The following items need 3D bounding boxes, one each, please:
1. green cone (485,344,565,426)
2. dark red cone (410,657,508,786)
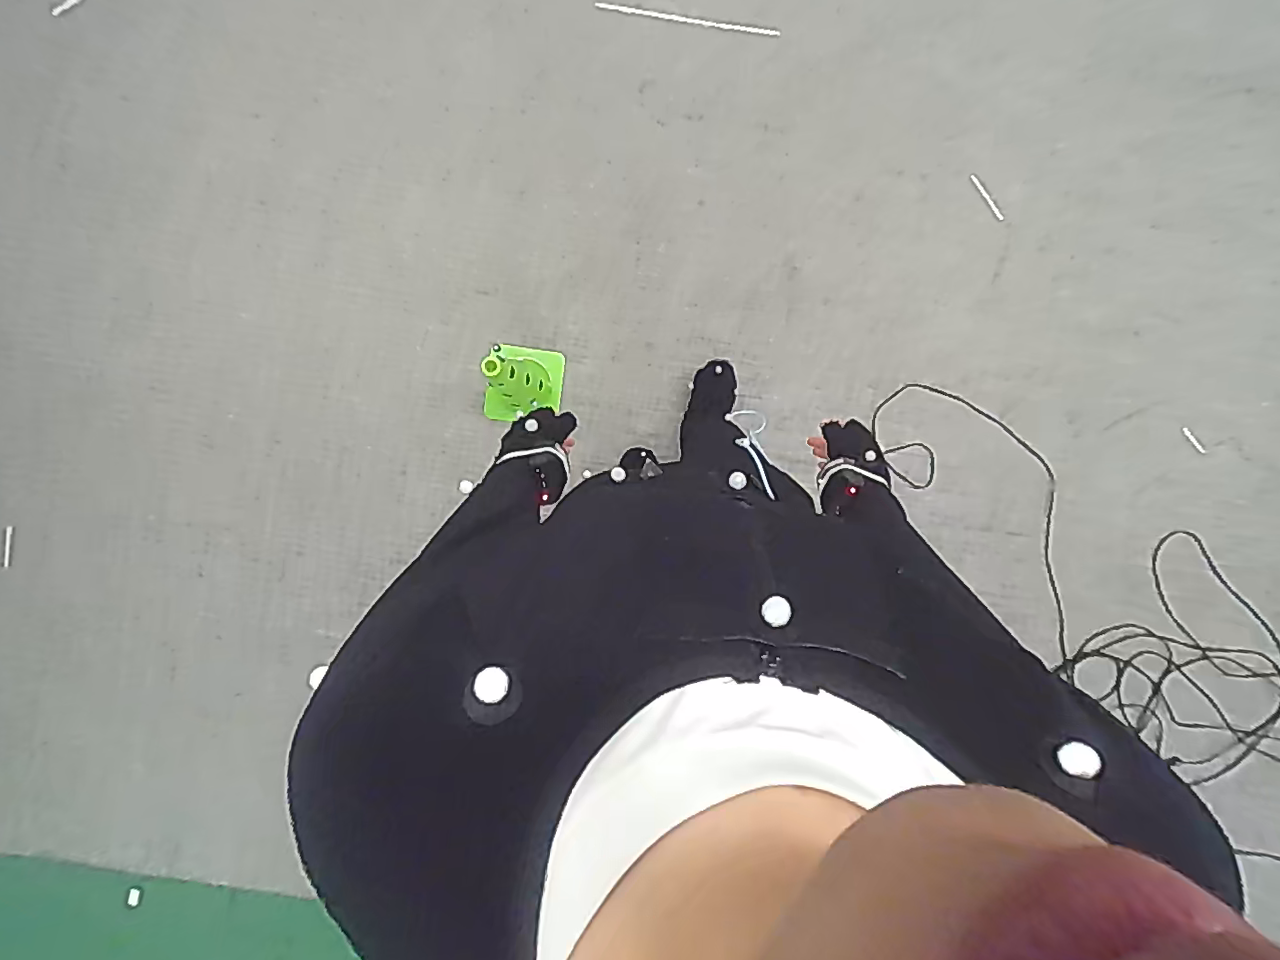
[{"bbox_3d":[-0.301,-0.238,1.271,0.202,0.368,0.200,7,94,-3],"label":"green cone"},{"bbox_3d":[-0.460,0.593,1.304,0.202,0.394,0.201,3,95,-1],"label":"dark red cone"}]
